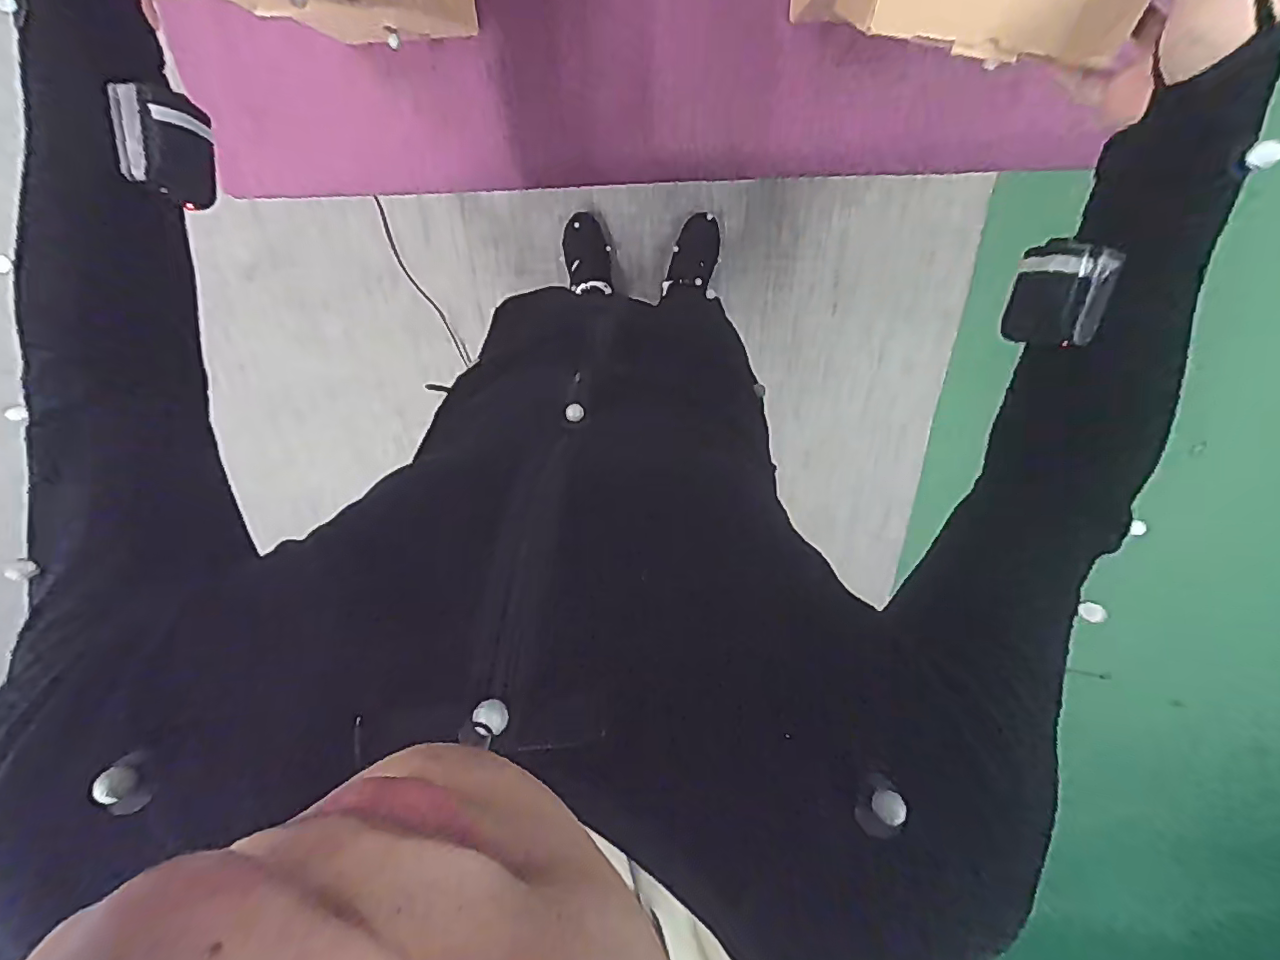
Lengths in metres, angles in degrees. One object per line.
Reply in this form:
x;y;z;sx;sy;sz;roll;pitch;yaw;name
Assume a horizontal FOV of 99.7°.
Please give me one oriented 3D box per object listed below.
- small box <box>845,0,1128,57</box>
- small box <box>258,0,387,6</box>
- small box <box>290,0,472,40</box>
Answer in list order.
0.243;-0.410;0.354;0.168;0.176;0.179;10;135;1;small box
-0.288;-0.484;0.391;0.168;0.176;0.179;-2;118;2;small box
-0.281;-0.566;0.532;0.168;0.176;0.179;-1;119;3;small box
